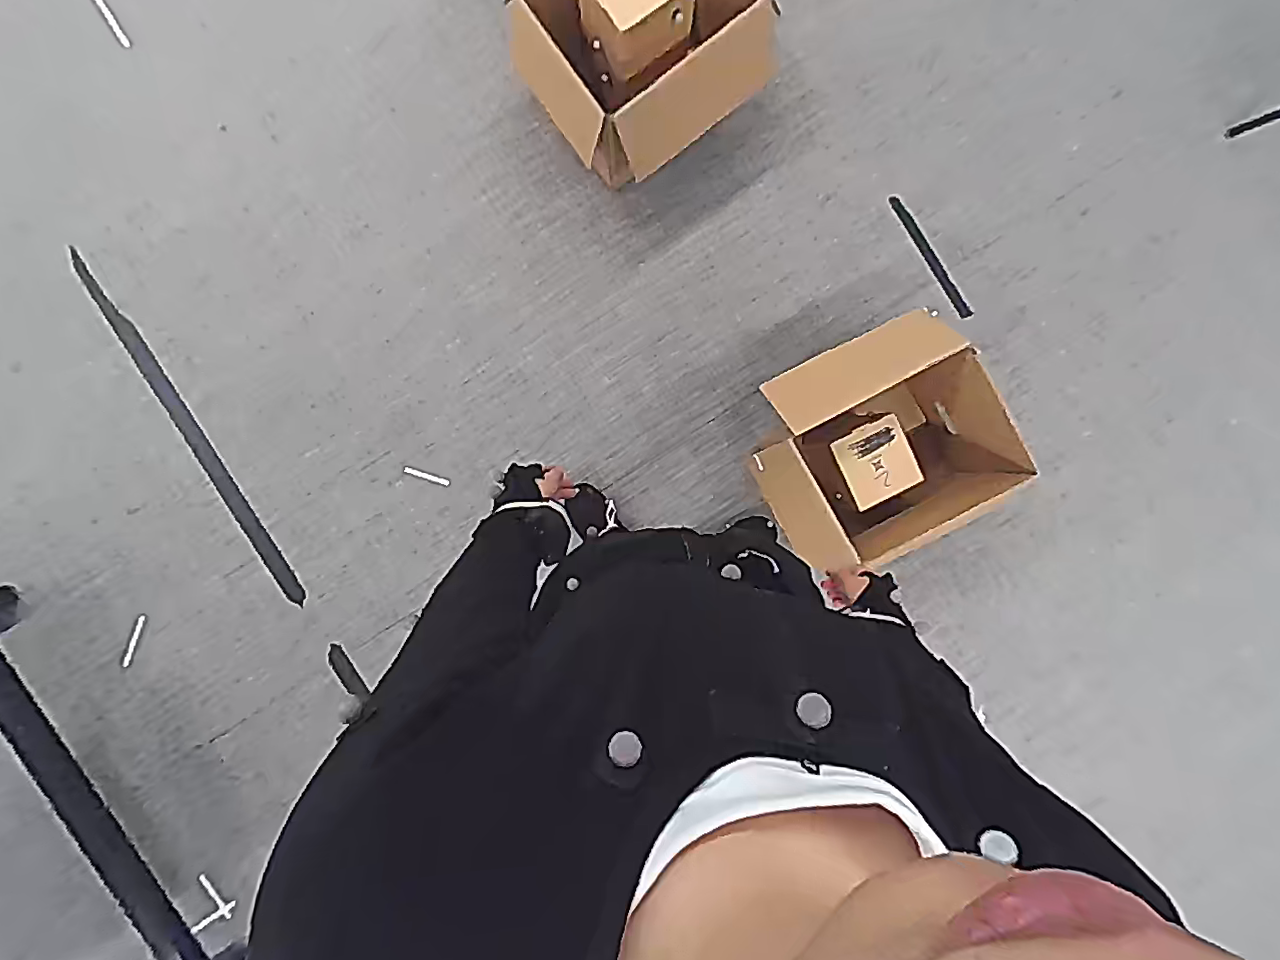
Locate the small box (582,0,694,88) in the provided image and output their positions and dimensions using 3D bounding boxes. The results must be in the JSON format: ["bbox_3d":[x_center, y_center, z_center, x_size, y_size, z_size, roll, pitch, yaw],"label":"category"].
[{"bbox_3d":[-0.009,-0.960,1.095,0.179,0.176,0.168,-34,91,1],"label":"small box"}]
